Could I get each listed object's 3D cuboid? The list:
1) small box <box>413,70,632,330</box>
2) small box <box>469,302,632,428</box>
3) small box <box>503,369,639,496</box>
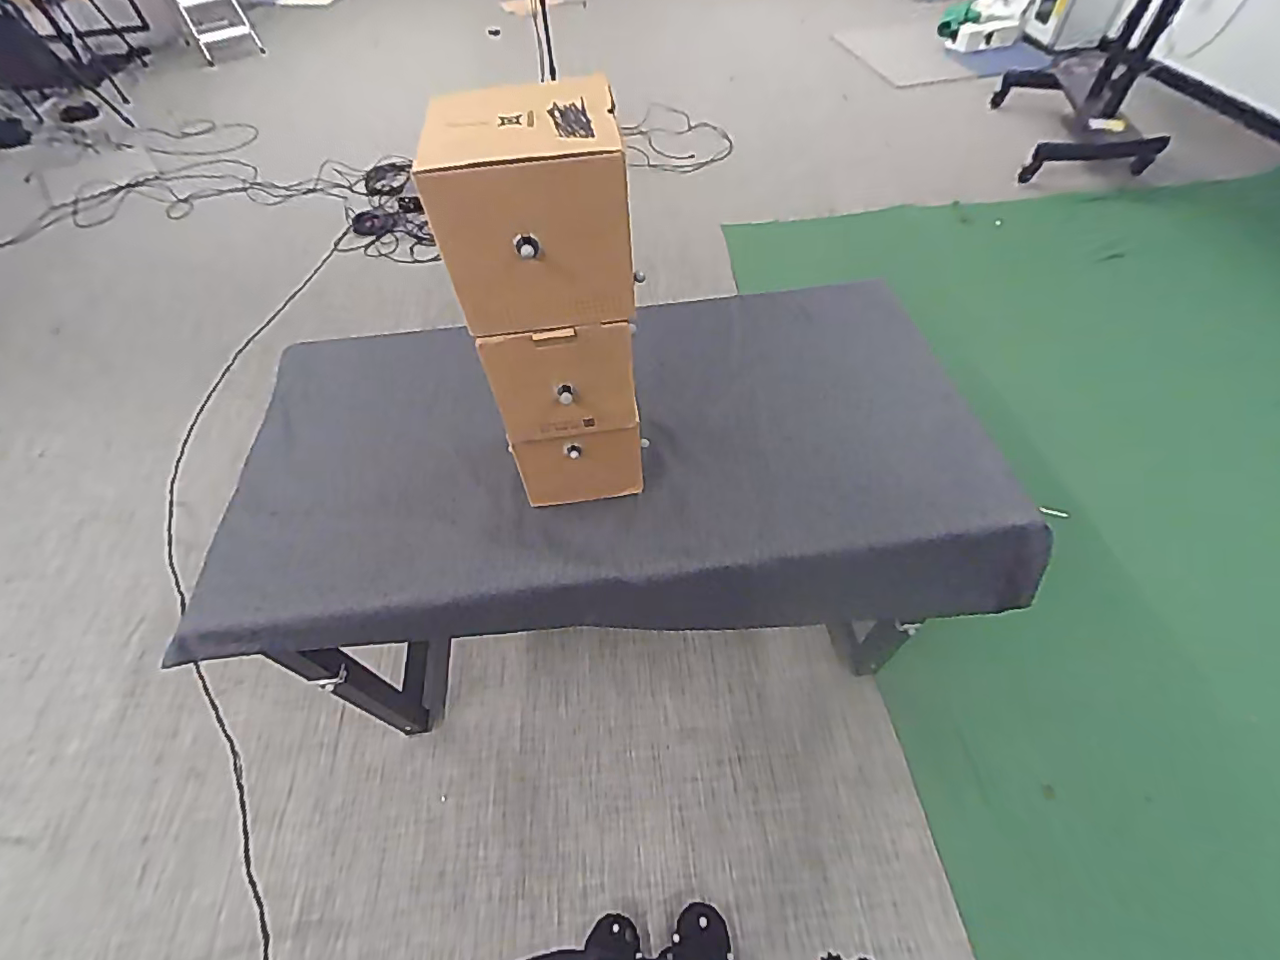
[{"bbox_3d":[-0.104,-0.273,0.538,0.179,0.176,0.168,-9,55,-5],"label":"small box"},{"bbox_3d":[-0.104,-0.180,0.675,0.168,0.176,0.179,-8,55,-3],"label":"small box"},{"bbox_3d":[-0.098,-0.090,0.811,0.179,0.176,0.168,-7,55,-3],"label":"small box"}]
